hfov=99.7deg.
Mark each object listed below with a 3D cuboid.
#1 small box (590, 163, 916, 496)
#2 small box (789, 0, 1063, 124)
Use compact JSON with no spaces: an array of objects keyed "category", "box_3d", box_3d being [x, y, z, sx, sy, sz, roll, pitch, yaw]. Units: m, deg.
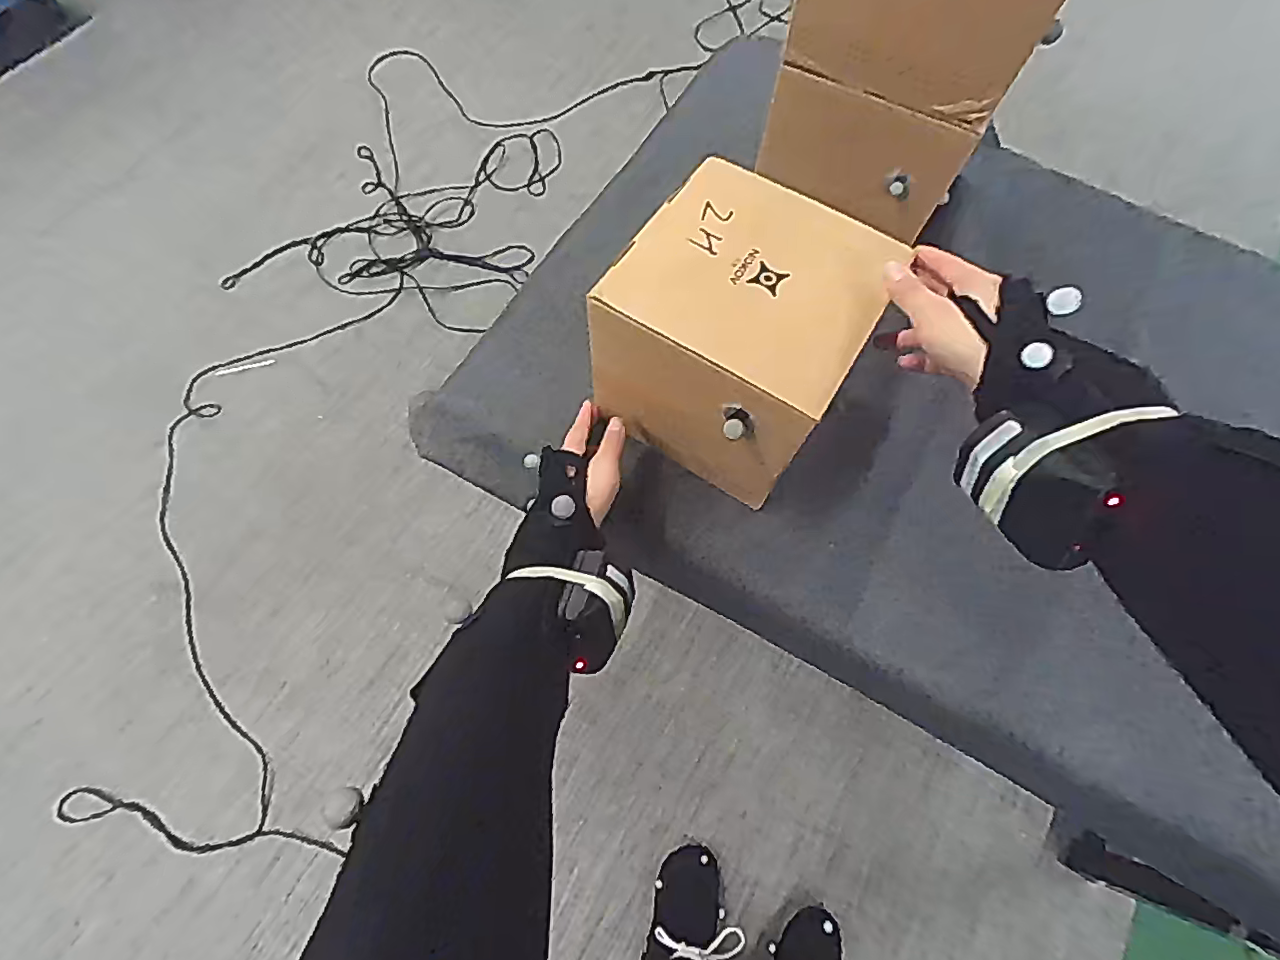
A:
[{"category":"small box","box_3d":[0.079,-0.107,0.445,0.179,0.176,0.168,31,70,11]},{"category":"small box","box_3d":[0.230,-0.403,0.388,0.179,0.176,0.168,26,74,8]}]
